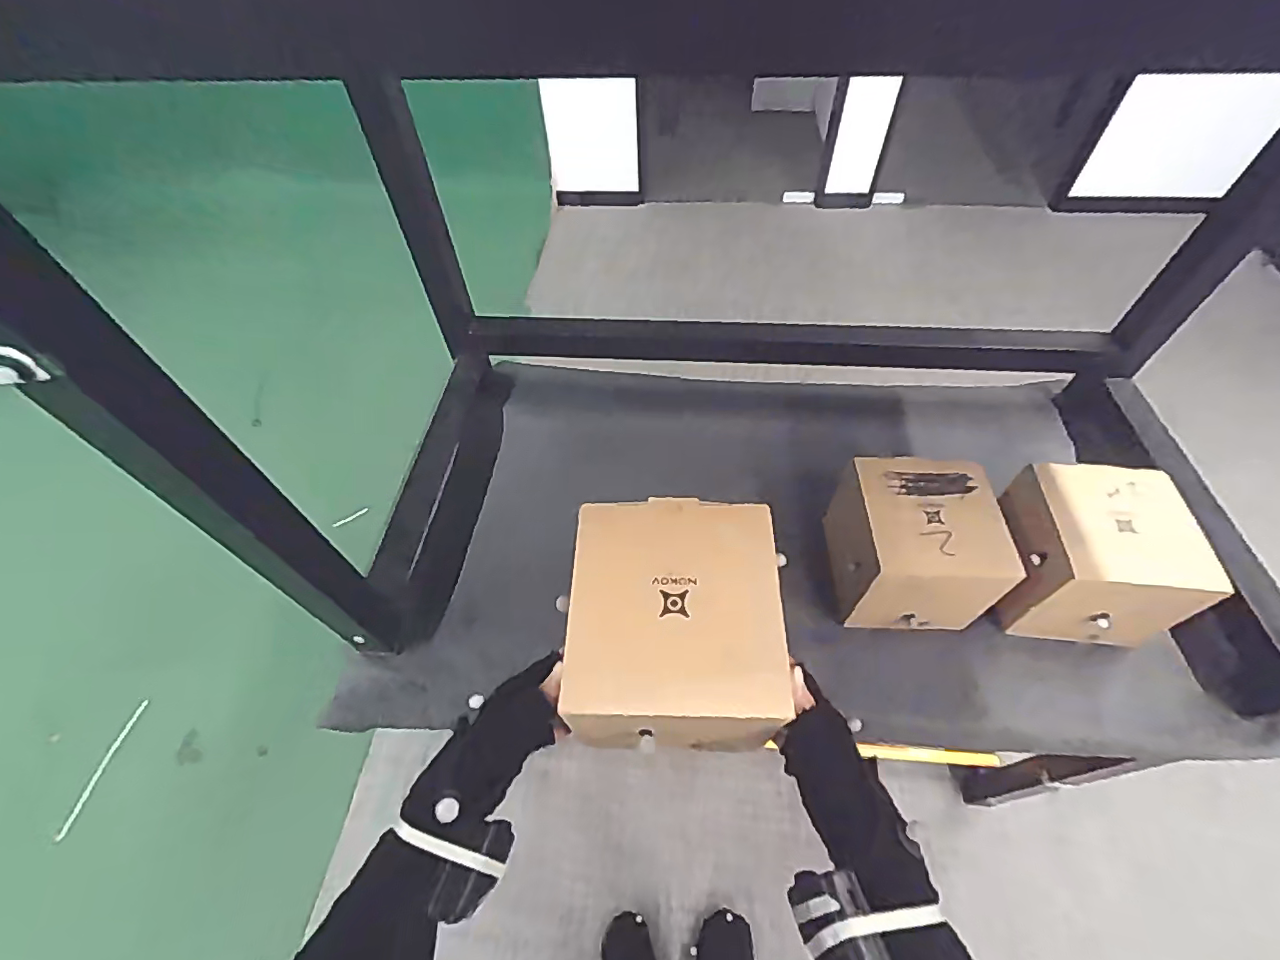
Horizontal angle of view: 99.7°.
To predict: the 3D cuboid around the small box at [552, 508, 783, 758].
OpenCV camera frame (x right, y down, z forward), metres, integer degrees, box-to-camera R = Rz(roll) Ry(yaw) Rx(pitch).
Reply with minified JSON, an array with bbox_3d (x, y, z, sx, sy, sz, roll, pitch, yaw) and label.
[{"bbox_3d":[0.026,0.143,0.487,0.168,0.176,0.179,0,54,3],"label":"small box"}]
